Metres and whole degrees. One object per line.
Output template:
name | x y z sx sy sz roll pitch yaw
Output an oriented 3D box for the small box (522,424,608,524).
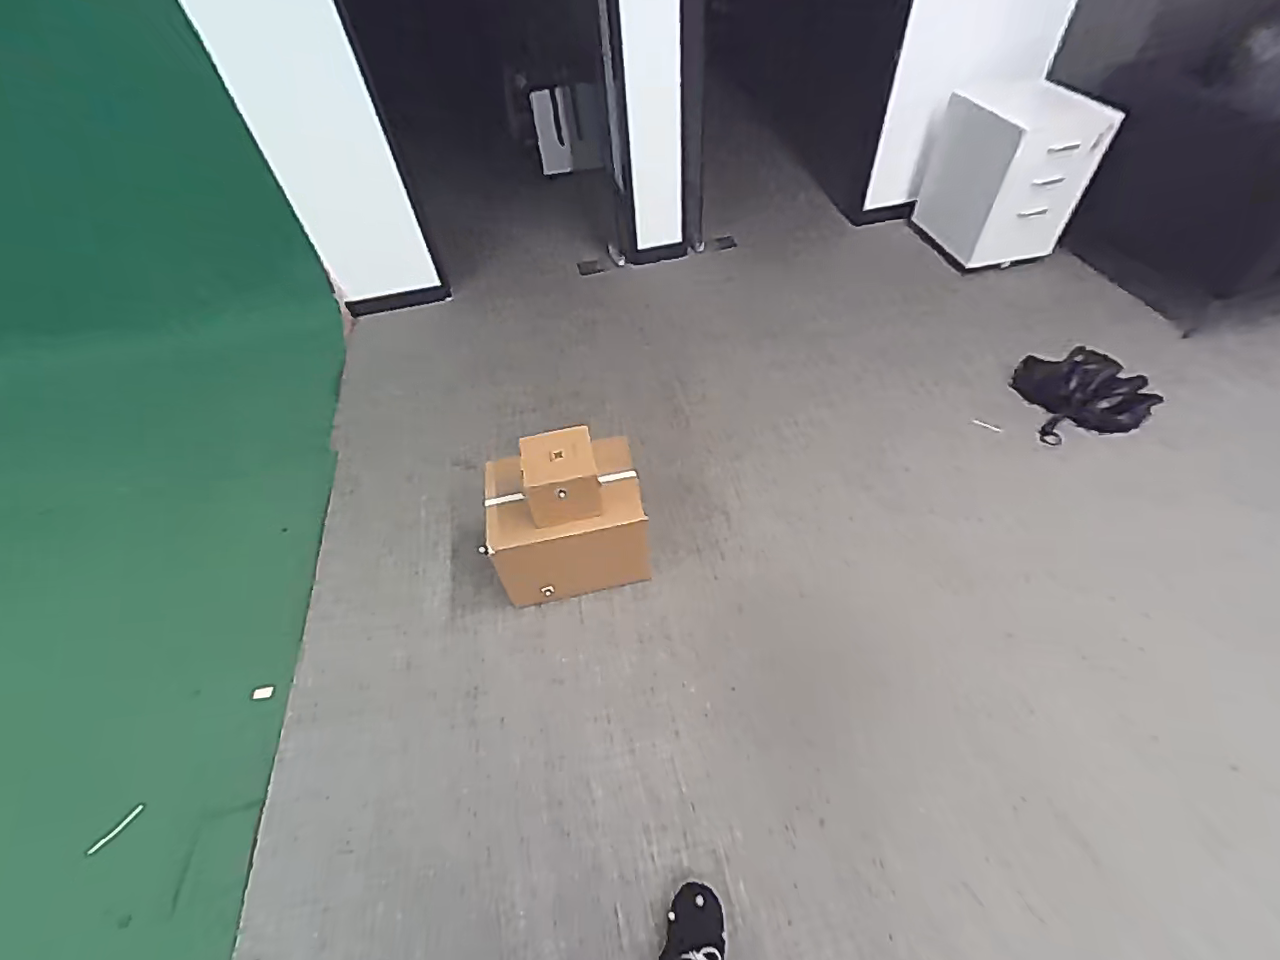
small box | -0.186 -0.010 1.361 0.179 0.176 0.168 -12 52 -5
